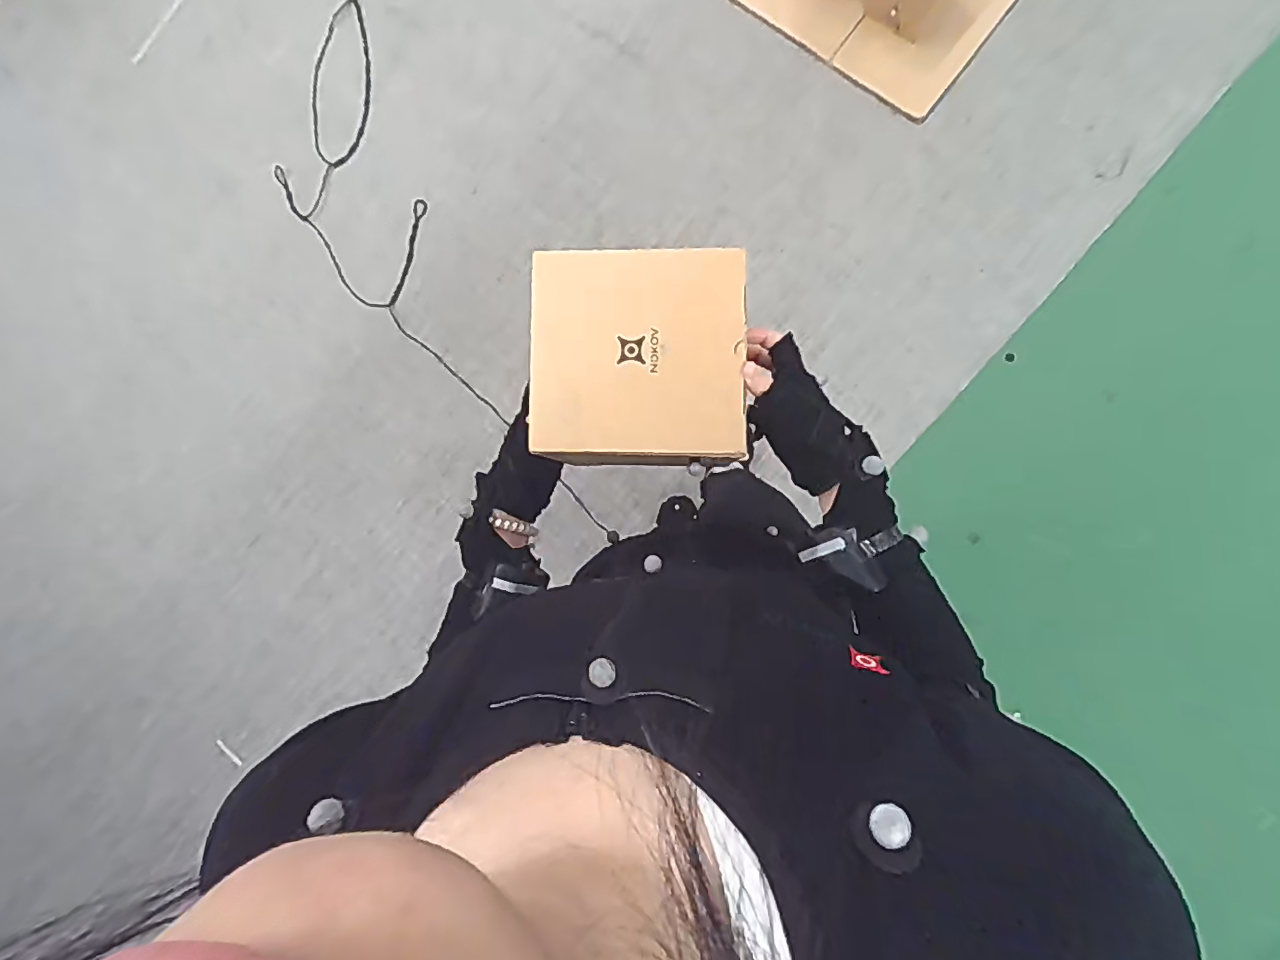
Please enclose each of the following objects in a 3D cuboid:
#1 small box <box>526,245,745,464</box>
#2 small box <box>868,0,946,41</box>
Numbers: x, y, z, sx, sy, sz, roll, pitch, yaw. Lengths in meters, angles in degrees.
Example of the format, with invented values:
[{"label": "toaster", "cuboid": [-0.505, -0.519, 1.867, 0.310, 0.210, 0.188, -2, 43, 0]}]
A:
[{"label": "small box", "cuboid": [0.002, -0.102, 0.510, 0.179, 0.176, 0.168, 0, 88, 4]}, {"label": "small box", "cuboid": [0.705, -1.275, 1.355, 0.168, 0.176, 0.179, 38, 93, 6]}]
